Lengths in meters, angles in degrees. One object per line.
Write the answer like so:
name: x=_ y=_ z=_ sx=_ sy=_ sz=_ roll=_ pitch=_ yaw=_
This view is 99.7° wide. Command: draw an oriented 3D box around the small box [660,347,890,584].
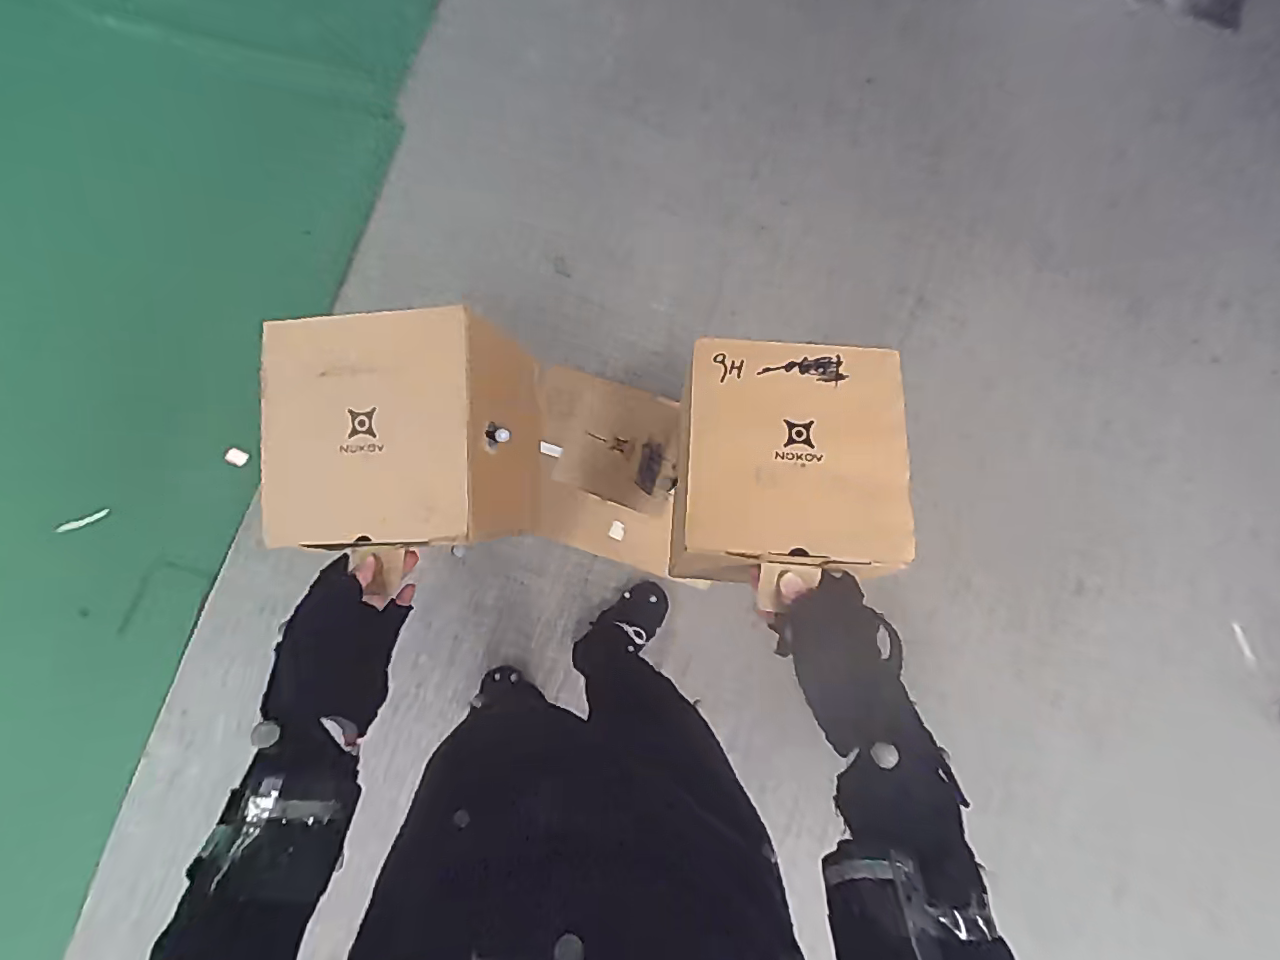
small box: x=0.105 y=0.000 z=0.489 sx=0.168 sy=0.176 sz=0.179 roll=2 pitch=75 yaw=1
